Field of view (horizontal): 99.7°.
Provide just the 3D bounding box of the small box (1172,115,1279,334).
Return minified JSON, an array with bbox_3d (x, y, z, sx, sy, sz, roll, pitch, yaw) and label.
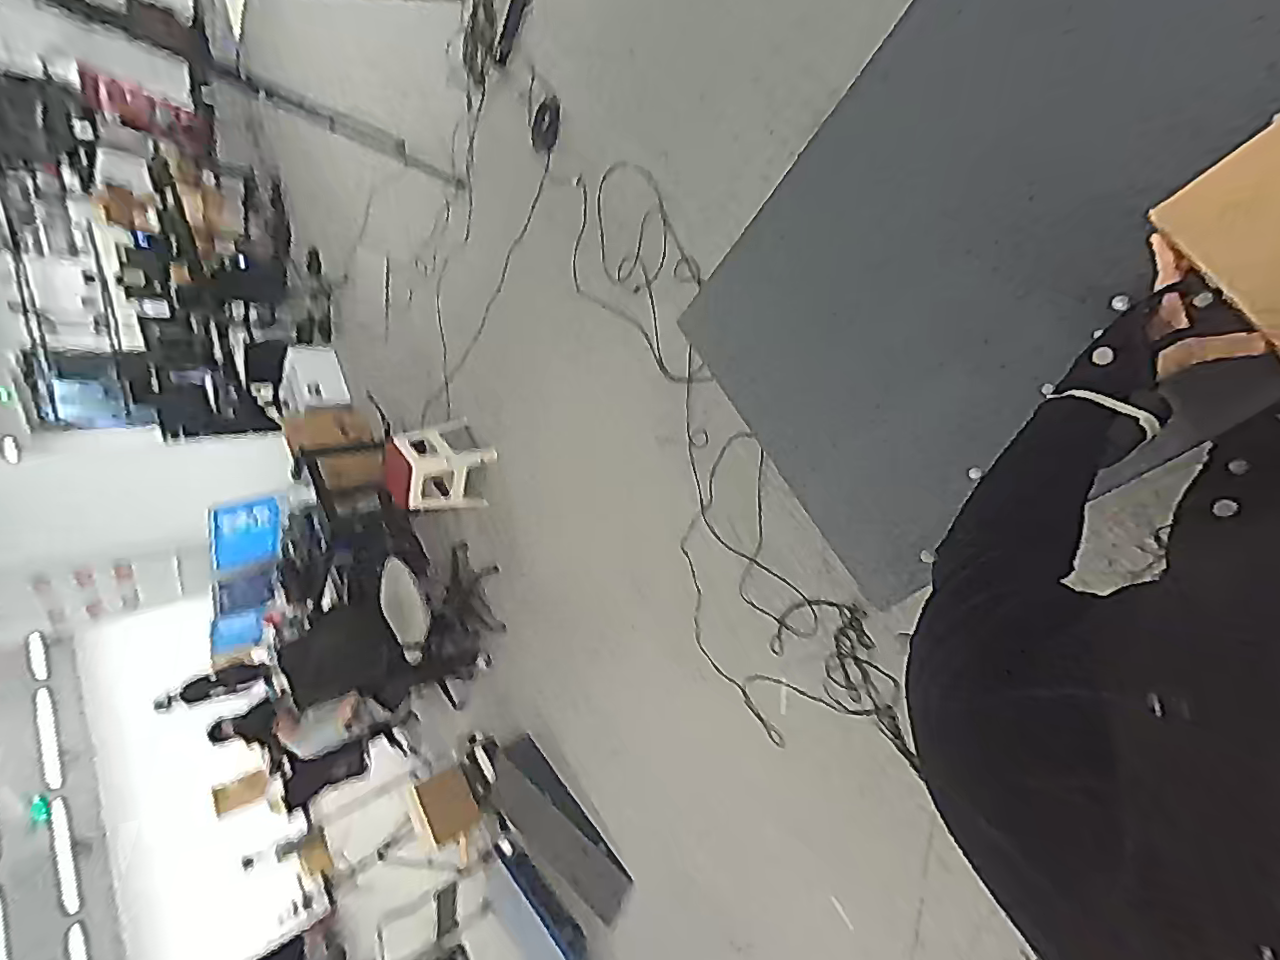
[{"bbox_3d":[0.535,-0.196,0.383,0.168,0.176,0.179,-43,71,45],"label":"small box"}]
